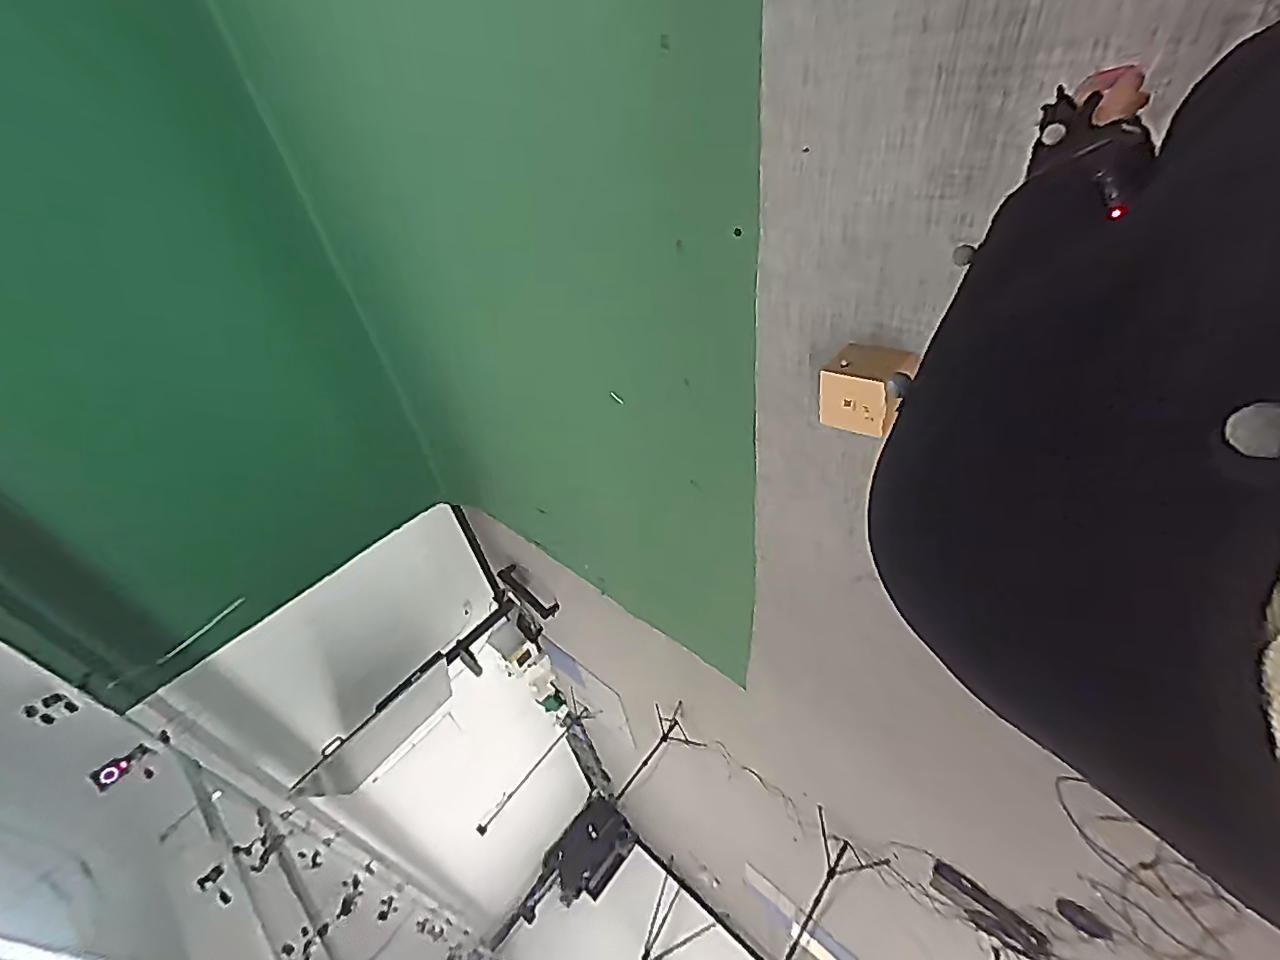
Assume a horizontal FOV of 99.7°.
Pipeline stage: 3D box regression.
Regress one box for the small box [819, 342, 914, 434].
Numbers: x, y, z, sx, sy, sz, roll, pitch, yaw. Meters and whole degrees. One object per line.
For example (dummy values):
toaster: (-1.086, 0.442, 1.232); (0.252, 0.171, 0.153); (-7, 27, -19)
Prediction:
small box: (0.597, -0.251, 1.437); (0.179, 0.176, 0.168); (22, 139, 38)
